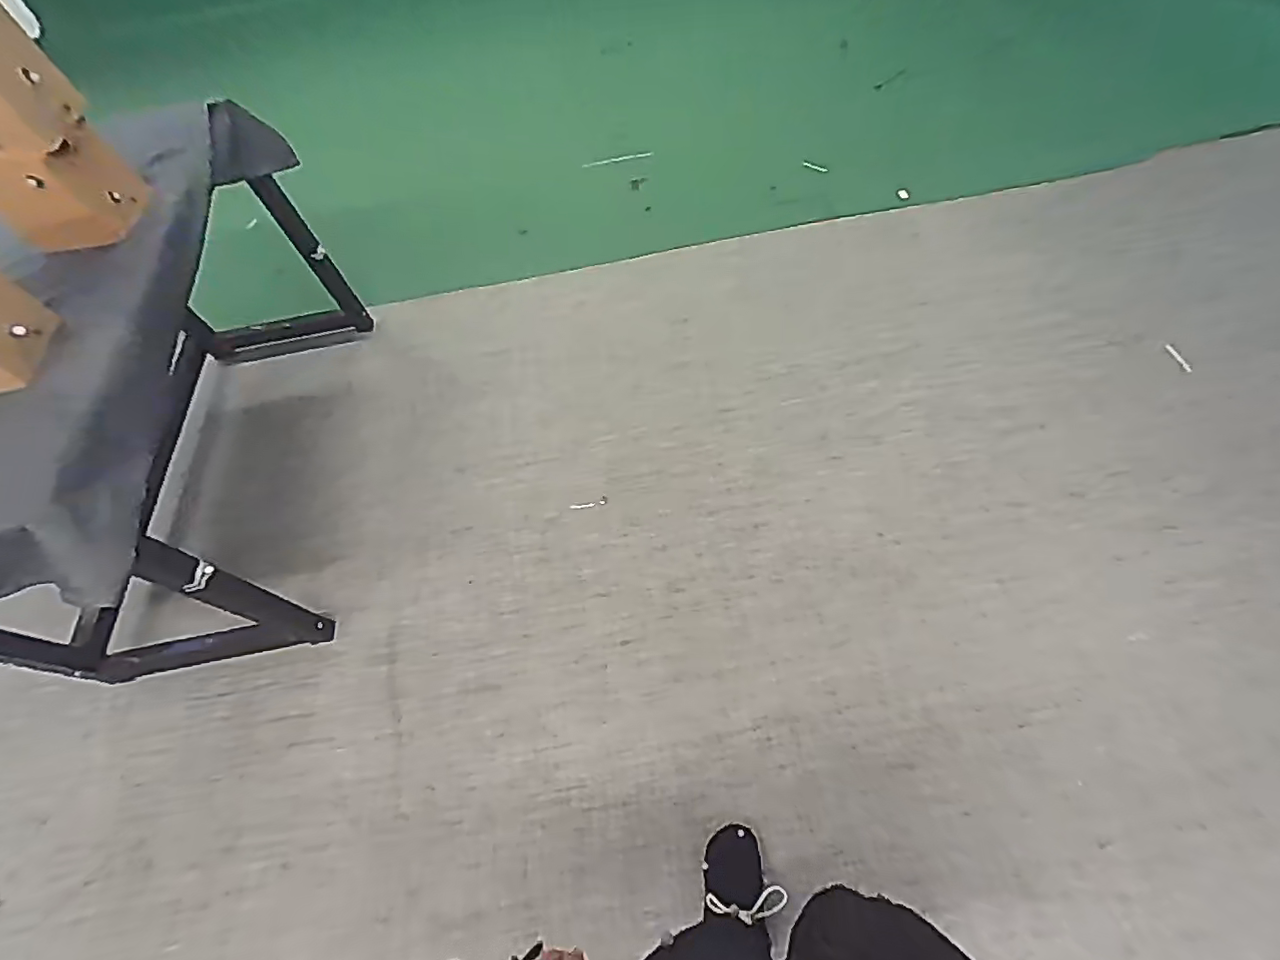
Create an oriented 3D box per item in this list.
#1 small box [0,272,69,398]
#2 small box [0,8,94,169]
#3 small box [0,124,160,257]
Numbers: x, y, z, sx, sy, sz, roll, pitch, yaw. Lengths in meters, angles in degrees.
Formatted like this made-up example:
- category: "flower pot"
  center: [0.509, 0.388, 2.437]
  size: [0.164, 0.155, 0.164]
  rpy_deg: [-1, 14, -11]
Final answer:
- category: "small box"
  center: [-1.101, -0.235, 0.862]
  size: [0.179, 0.176, 0.168]
  rpy_deg: [-13, 59, -2]
- category: "small box"
  center: [-1.113, -0.658, 0.924]
  size: [0.179, 0.176, 0.168]
  rpy_deg: [-11, 59, -1]
- category: "small box"
  center: [-1.114, -0.560, 1.057]
  size: [0.179, 0.176, 0.168]
  rpy_deg: [-8, 59, 2]
